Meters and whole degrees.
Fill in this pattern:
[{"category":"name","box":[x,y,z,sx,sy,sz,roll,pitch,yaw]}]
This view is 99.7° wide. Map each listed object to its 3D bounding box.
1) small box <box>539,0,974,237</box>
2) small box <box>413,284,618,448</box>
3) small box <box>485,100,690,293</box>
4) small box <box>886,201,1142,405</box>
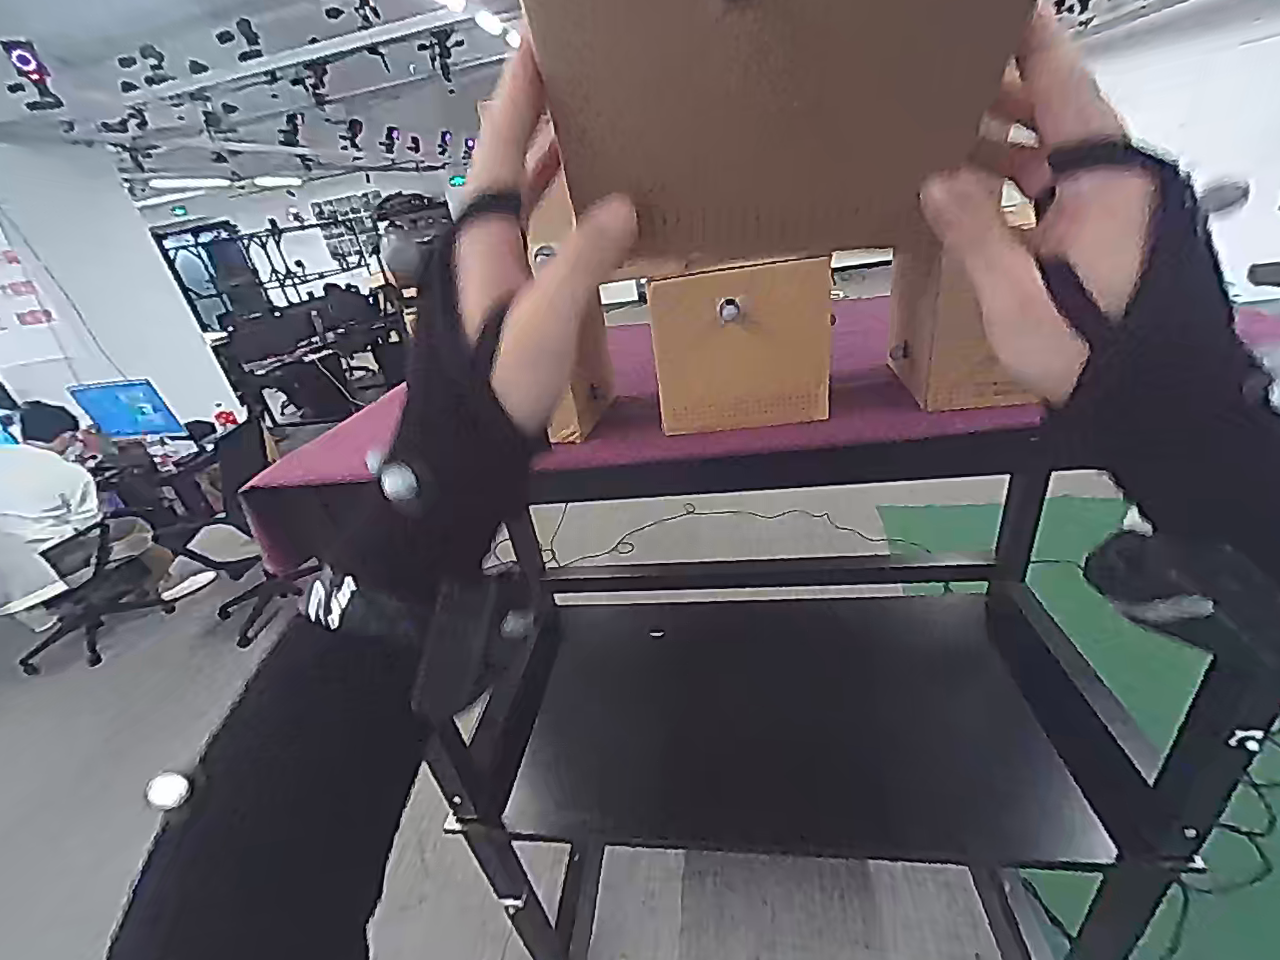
[{"category":"small box","box":[0.051,-0.238,0.256,0.179,0.176,0.168,2,65,8]},{"category":"small box","box":[-0.140,-0.145,0.674,0.179,0.176,0.168,-1,28,15]},{"category":"small box","box":[-0.039,-0.304,0.587,0.168,0.176,0.179,-4,26,11]},{"category":"small box","box":[0.367,-0.184,0.573,0.168,0.176,0.179,-3,29,13]}]
